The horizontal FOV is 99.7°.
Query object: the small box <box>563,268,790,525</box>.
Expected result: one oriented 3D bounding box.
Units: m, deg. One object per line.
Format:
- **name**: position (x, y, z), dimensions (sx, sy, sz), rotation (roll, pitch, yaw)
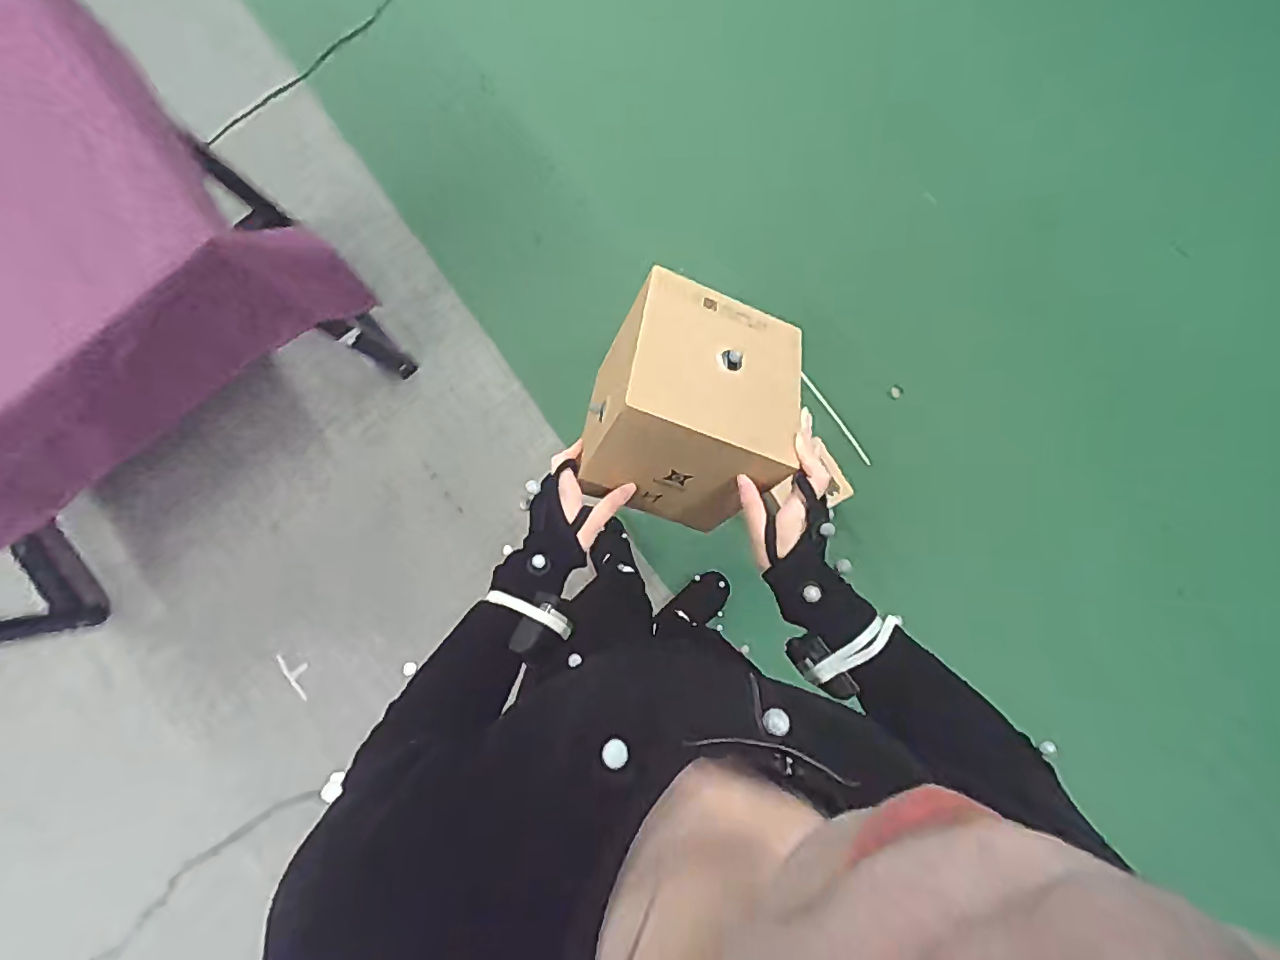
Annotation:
- **small box**: position (0.034, -0.078, 0.551), dimensions (0.168, 0.179, 0.176), rotation (18, 61, -14)
